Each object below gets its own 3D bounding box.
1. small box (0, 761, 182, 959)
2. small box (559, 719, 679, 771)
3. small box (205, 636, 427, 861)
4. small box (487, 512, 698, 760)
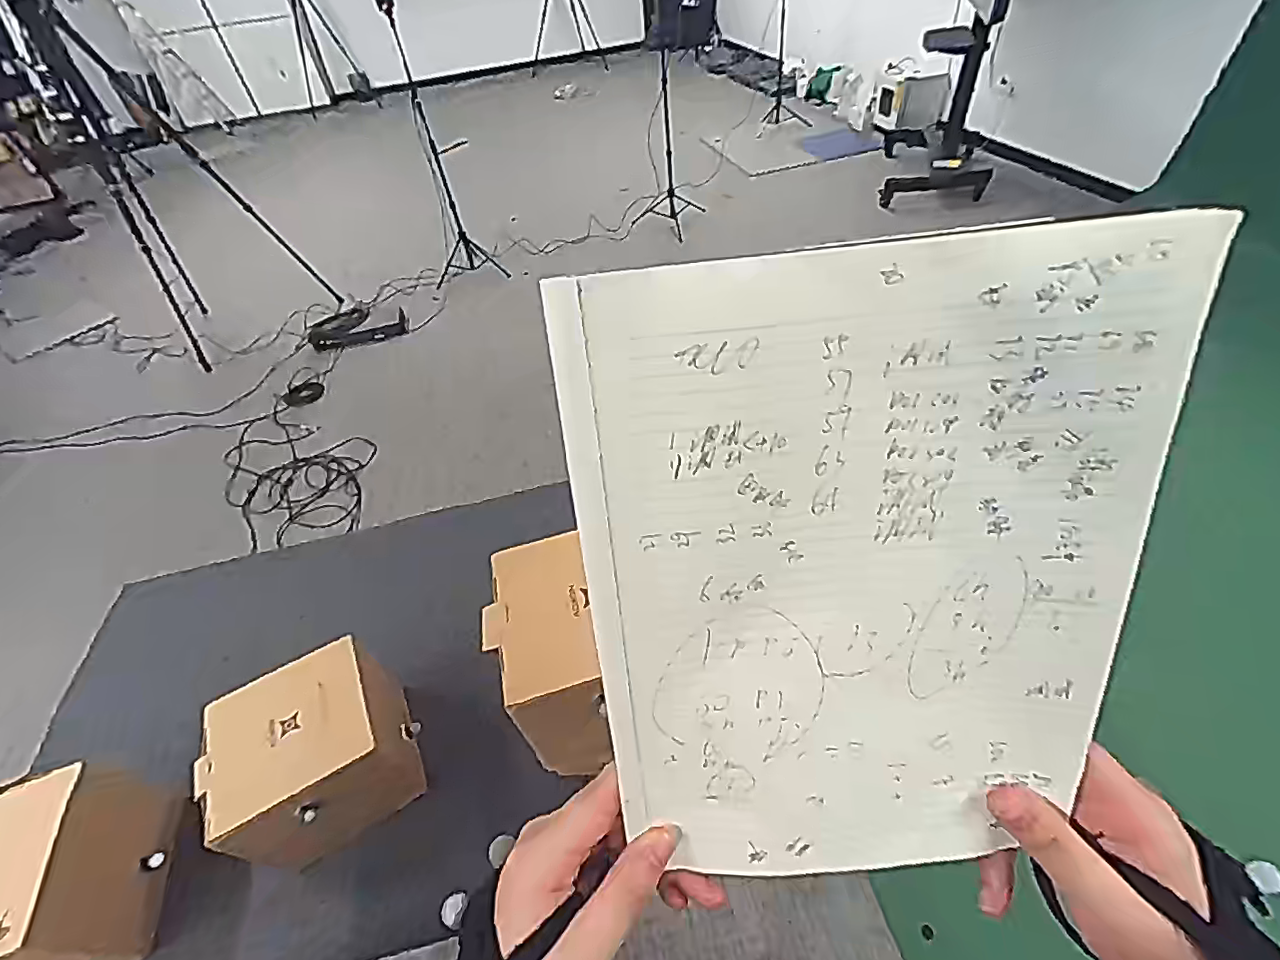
[{"bbox_3d":[-0.669,0.457,0.607,0.168,0.176,0.179,-18,47,-10],"label":"small box"},{"bbox_3d":[-0.037,0.259,0.702,0.168,0.176,0.179,-4,47,5],"label":"small box"},{"bbox_3d":[-0.399,0.339,0.681,0.179,0.176,0.168,-26,49,-17],"label":"small box"},{"bbox_3d":[-0.046,0.165,0.568,0.179,0.176,0.168,-16,47,-6],"label":"small box"}]
